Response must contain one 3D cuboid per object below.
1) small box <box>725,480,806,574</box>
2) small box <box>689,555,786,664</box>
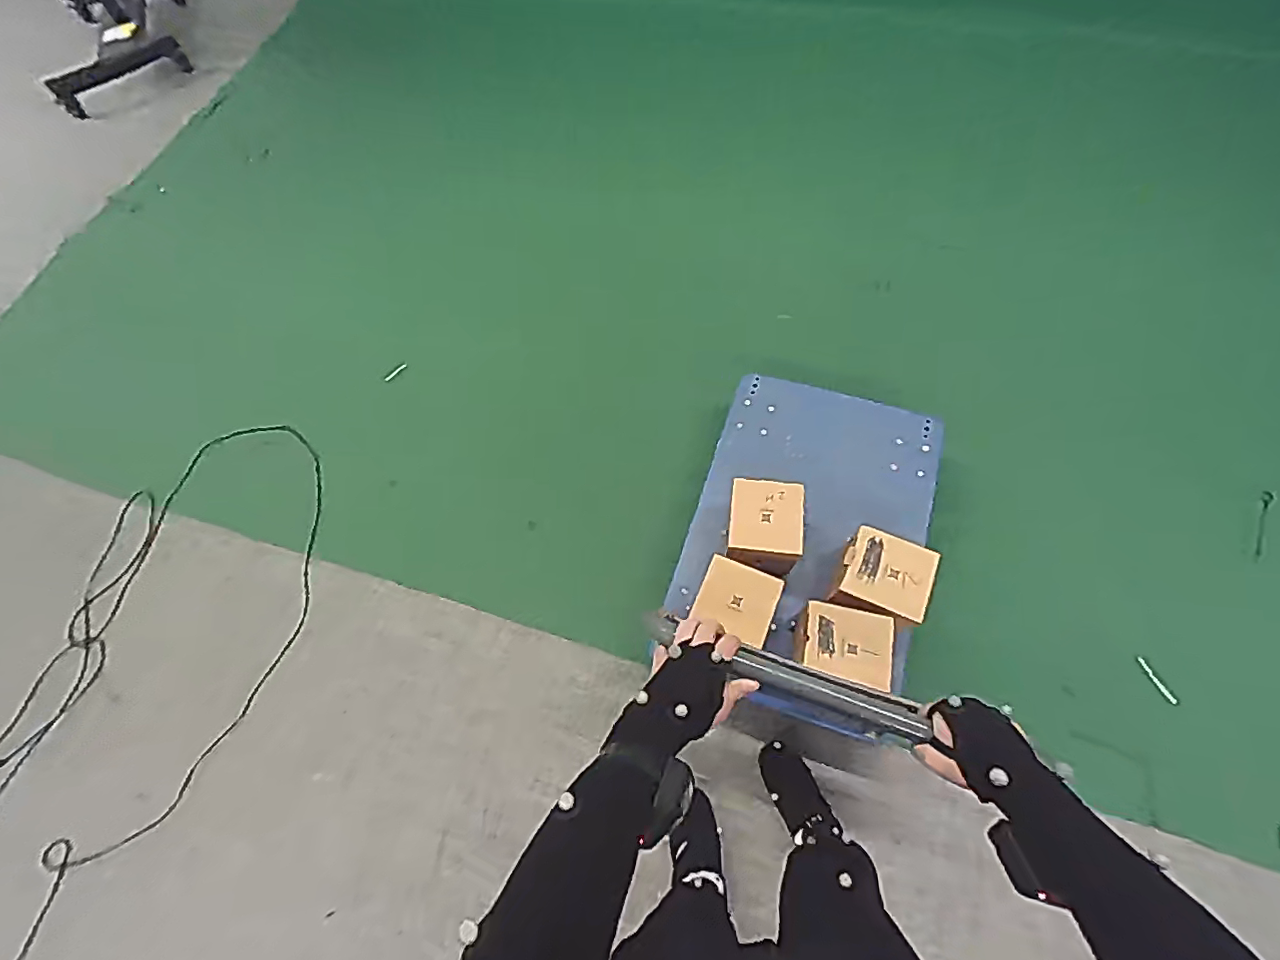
[{"bbox_3d":[0.299,0.119,1.310,0.168,0.176,0.179,7,66,7],"label":"small box"},{"bbox_3d":[0.214,0.301,1.236,0.168,0.176,0.179,22,70,13],"label":"small box"}]
